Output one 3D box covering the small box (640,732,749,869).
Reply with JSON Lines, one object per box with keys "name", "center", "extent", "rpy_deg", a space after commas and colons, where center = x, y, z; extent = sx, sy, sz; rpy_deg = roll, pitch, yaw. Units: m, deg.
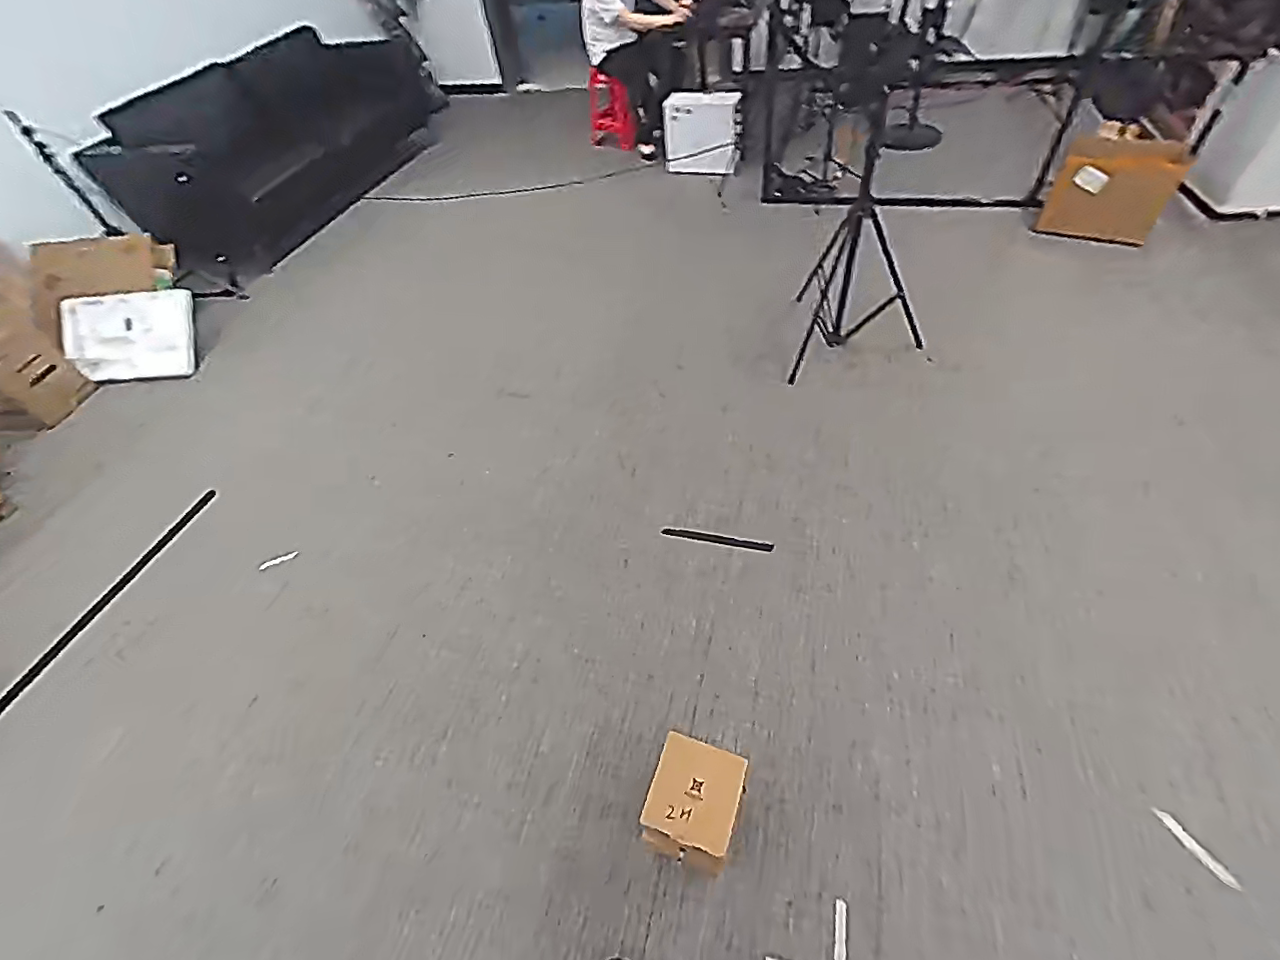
{"name": "small box", "center": [0.113, 0.641, 1.080], "extent": [0.168, 0.176, 0.179], "rpy_deg": [12, 53, 19]}
